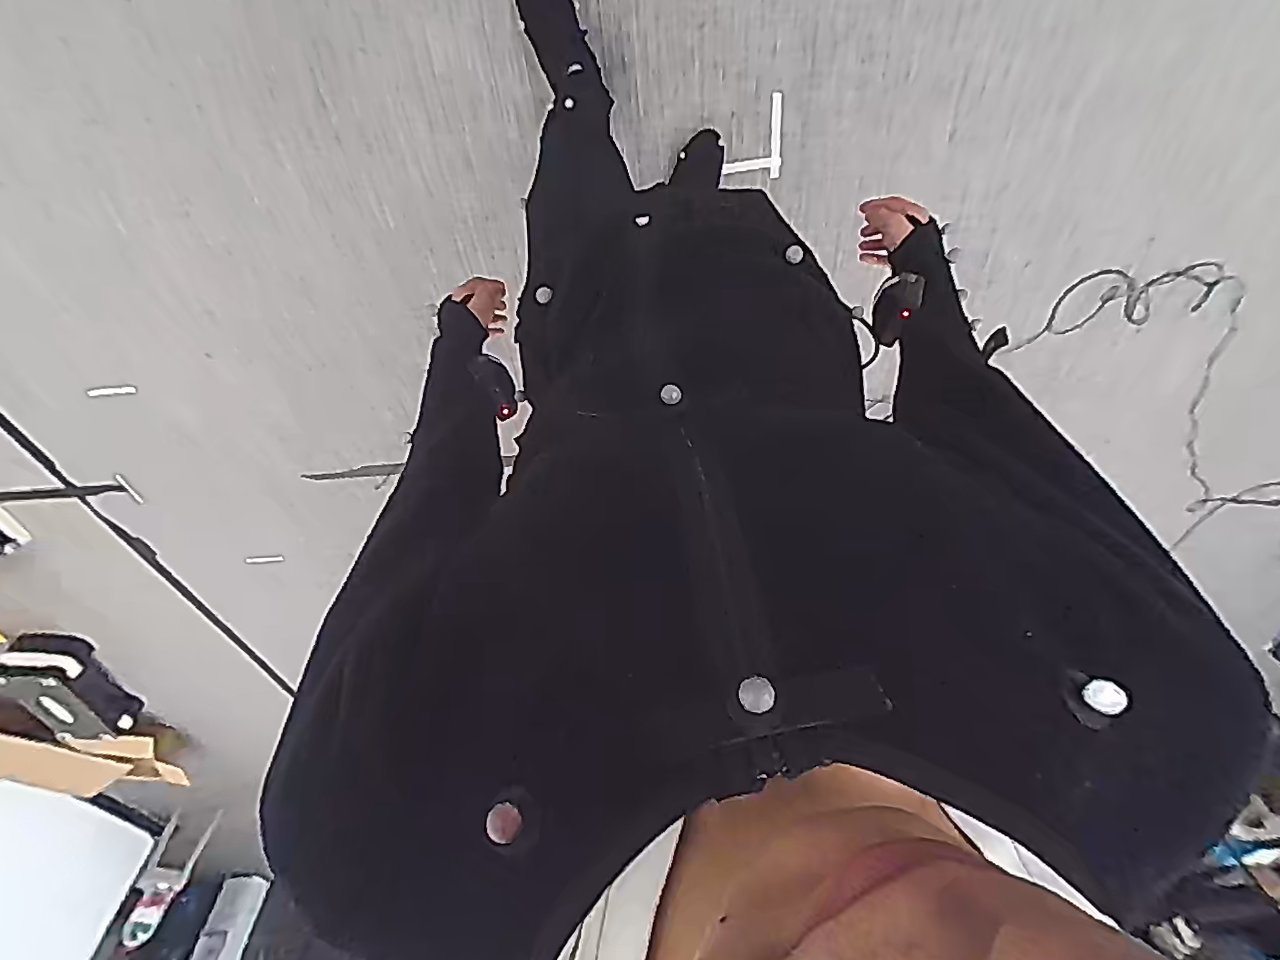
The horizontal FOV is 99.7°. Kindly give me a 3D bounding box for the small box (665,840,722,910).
[{"bbox_3d":[0.183,1.365,1.871,0.179,0.176,0.168,-6,132,4],"label":"small box"}]

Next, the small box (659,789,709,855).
[{"bbox_3d":[0.162,1.265,2.000,0.179,0.176,0.168,-6,133,5],"label":"small box"}]
